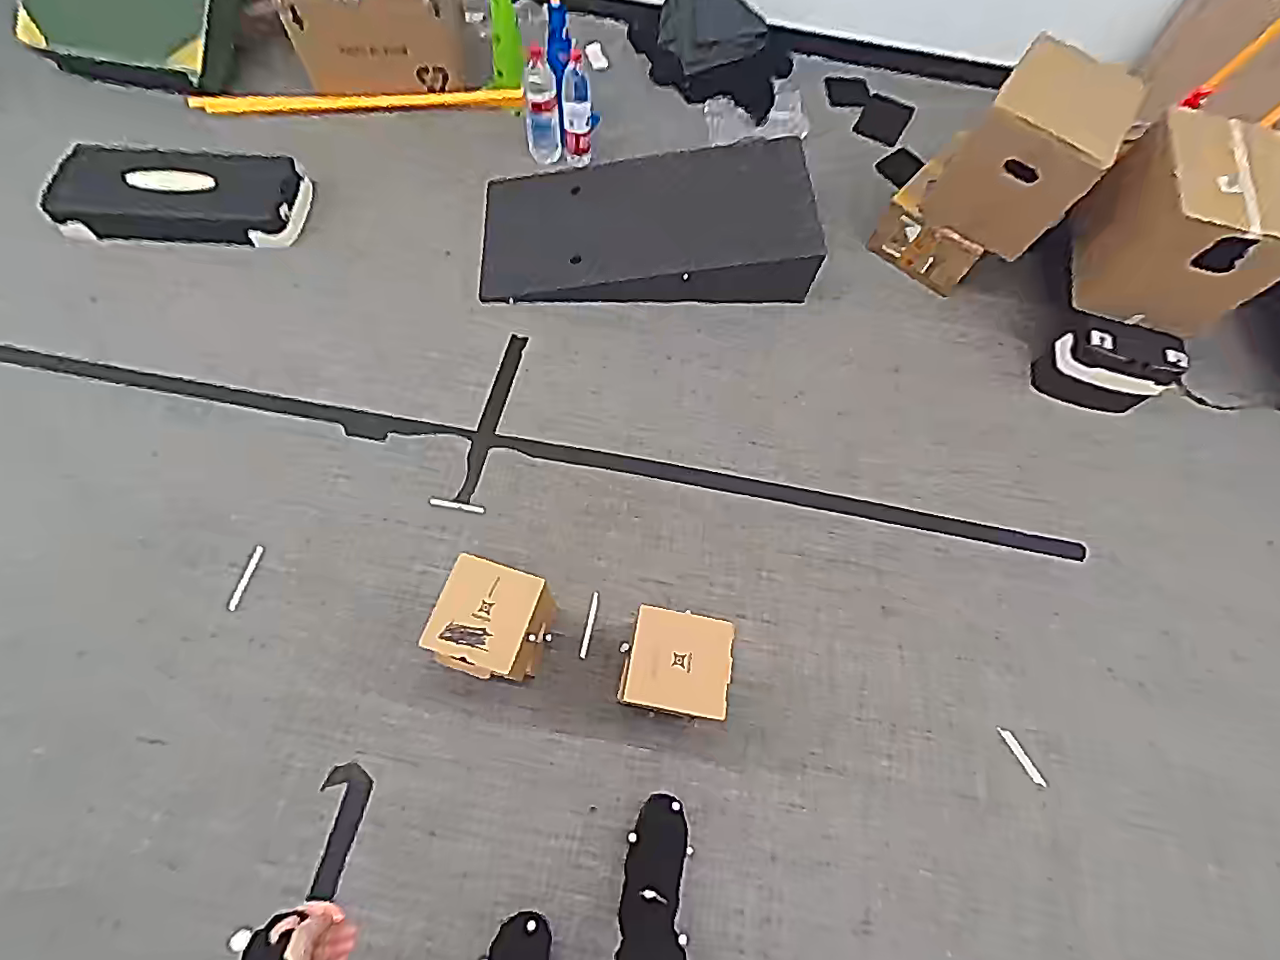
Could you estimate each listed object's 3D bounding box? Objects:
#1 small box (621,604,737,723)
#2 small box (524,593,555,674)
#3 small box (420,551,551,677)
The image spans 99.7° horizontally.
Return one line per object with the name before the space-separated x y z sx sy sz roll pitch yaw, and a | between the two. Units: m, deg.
small box | 0.067 0.342 1.001 0.179 0.176 0.168 12 66 1
small box | -0.289 0.314 1.163 0.179 0.176 0.168 14 67 1
small box | -0.274 0.257 1.009 0.168 0.176 0.179 18 67 3
